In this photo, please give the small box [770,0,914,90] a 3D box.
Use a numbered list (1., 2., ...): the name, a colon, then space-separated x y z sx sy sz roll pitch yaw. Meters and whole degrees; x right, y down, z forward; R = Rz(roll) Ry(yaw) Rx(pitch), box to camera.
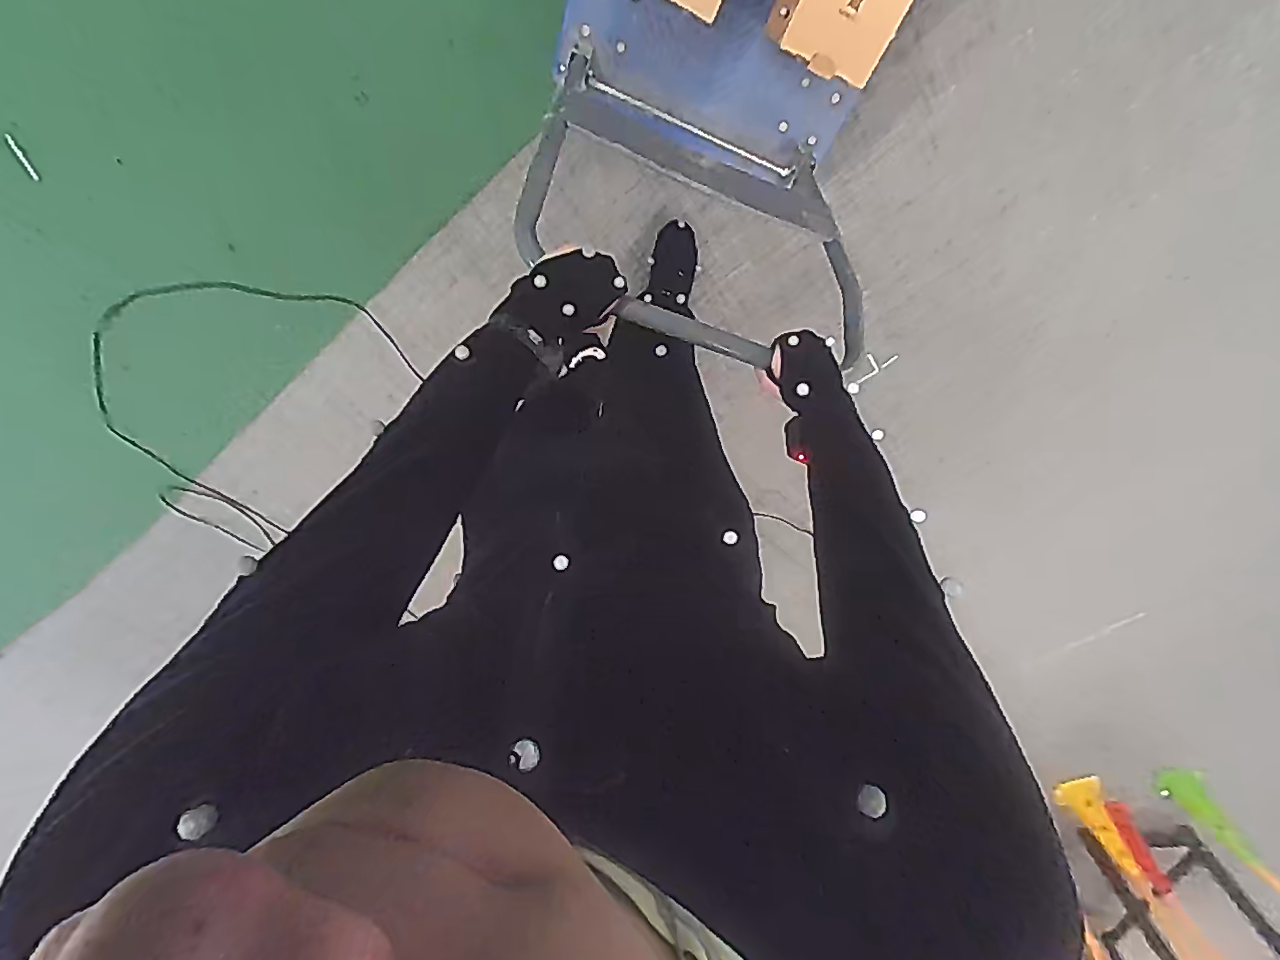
1. small box: 0.332 -0.797 0.894 0.168 0.176 0.179 16 136 -15
